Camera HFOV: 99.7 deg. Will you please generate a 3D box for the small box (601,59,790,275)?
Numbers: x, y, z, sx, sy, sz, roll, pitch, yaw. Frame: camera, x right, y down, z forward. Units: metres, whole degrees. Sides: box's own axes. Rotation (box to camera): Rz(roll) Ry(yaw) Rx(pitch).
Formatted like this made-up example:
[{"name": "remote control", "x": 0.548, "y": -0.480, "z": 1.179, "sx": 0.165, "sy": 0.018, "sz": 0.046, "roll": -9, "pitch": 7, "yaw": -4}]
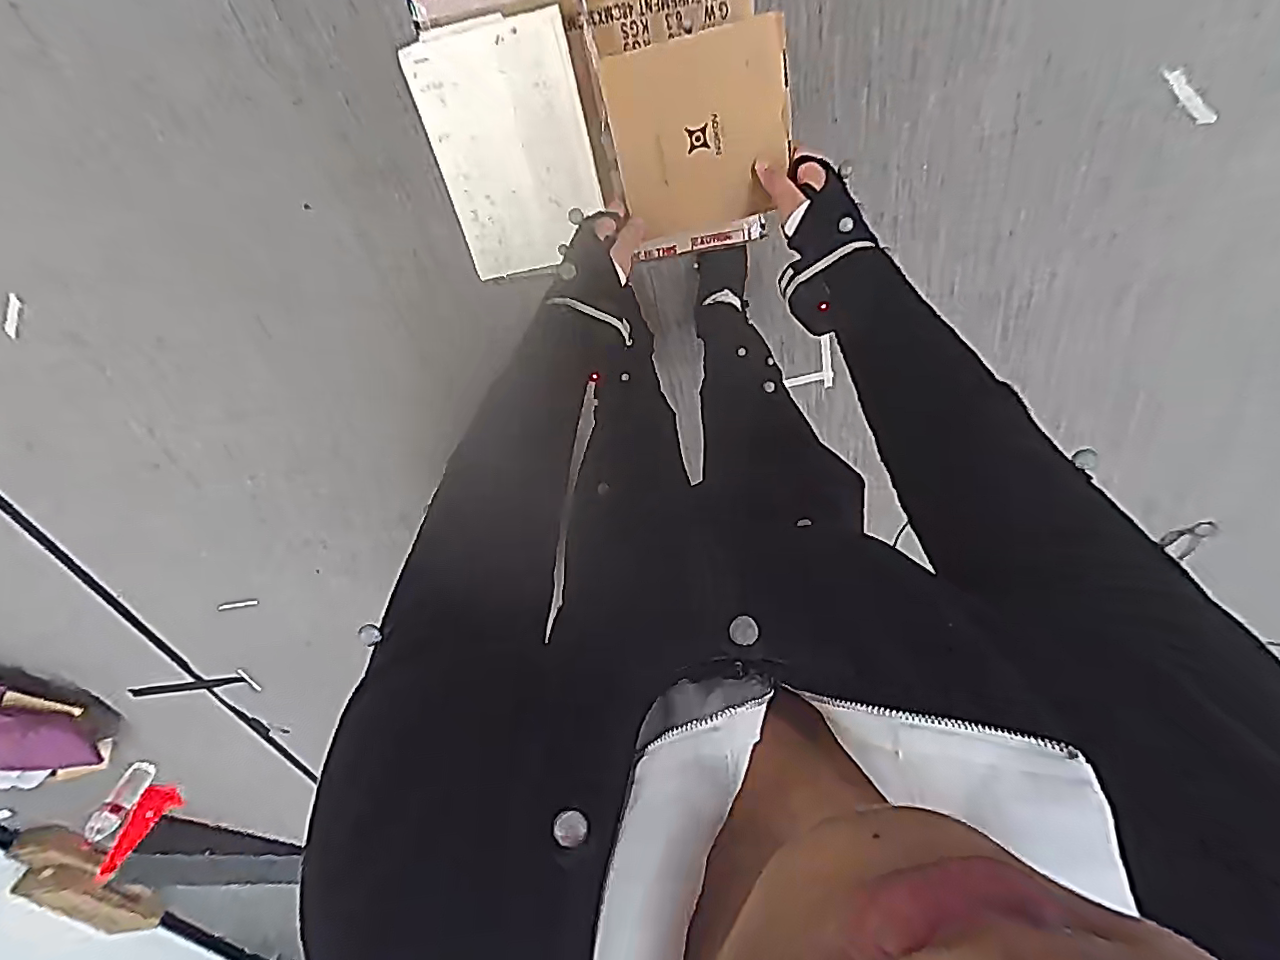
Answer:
[{"name": "small box", "x": 0.060, "y": -0.356, "z": 0.614, "sx": 0.179, "sy": 0.176, "sz": 0.168, "roll": -11, "pitch": 125, "yaw": 7}]
